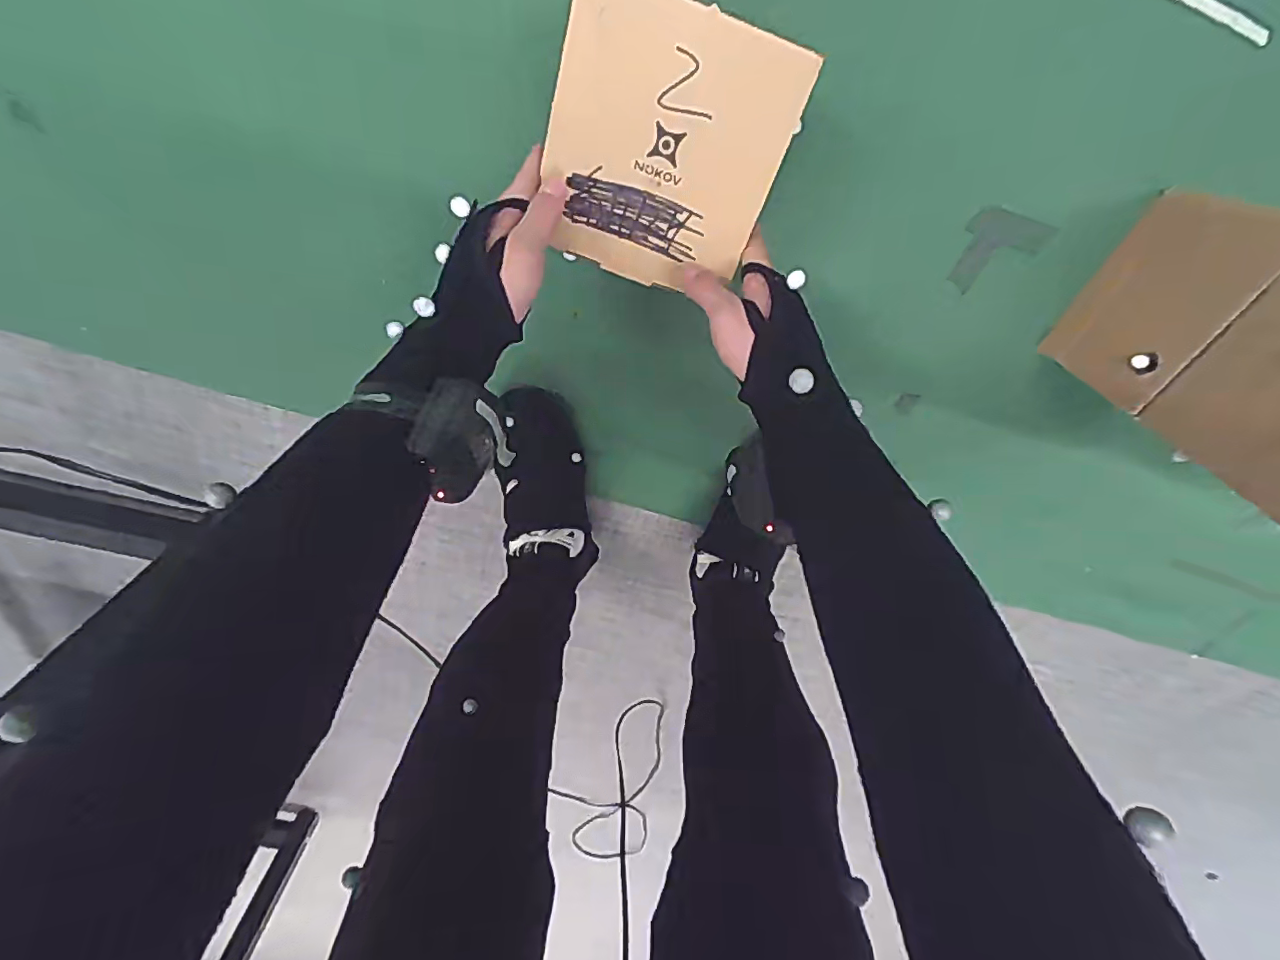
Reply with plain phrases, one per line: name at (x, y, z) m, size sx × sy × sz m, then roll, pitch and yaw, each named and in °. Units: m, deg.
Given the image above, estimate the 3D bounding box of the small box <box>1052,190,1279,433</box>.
small box at (0.544, -0.143, 0.499) m, size 0.168 × 0.176 × 0.179 m, roll 16°, pitch 126°, yaw -7°

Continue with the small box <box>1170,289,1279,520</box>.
small box at (0.532, -0.047, 0.367) m, size 0.168 × 0.176 × 0.179 m, roll 17°, pitch 125°, yaw -8°
